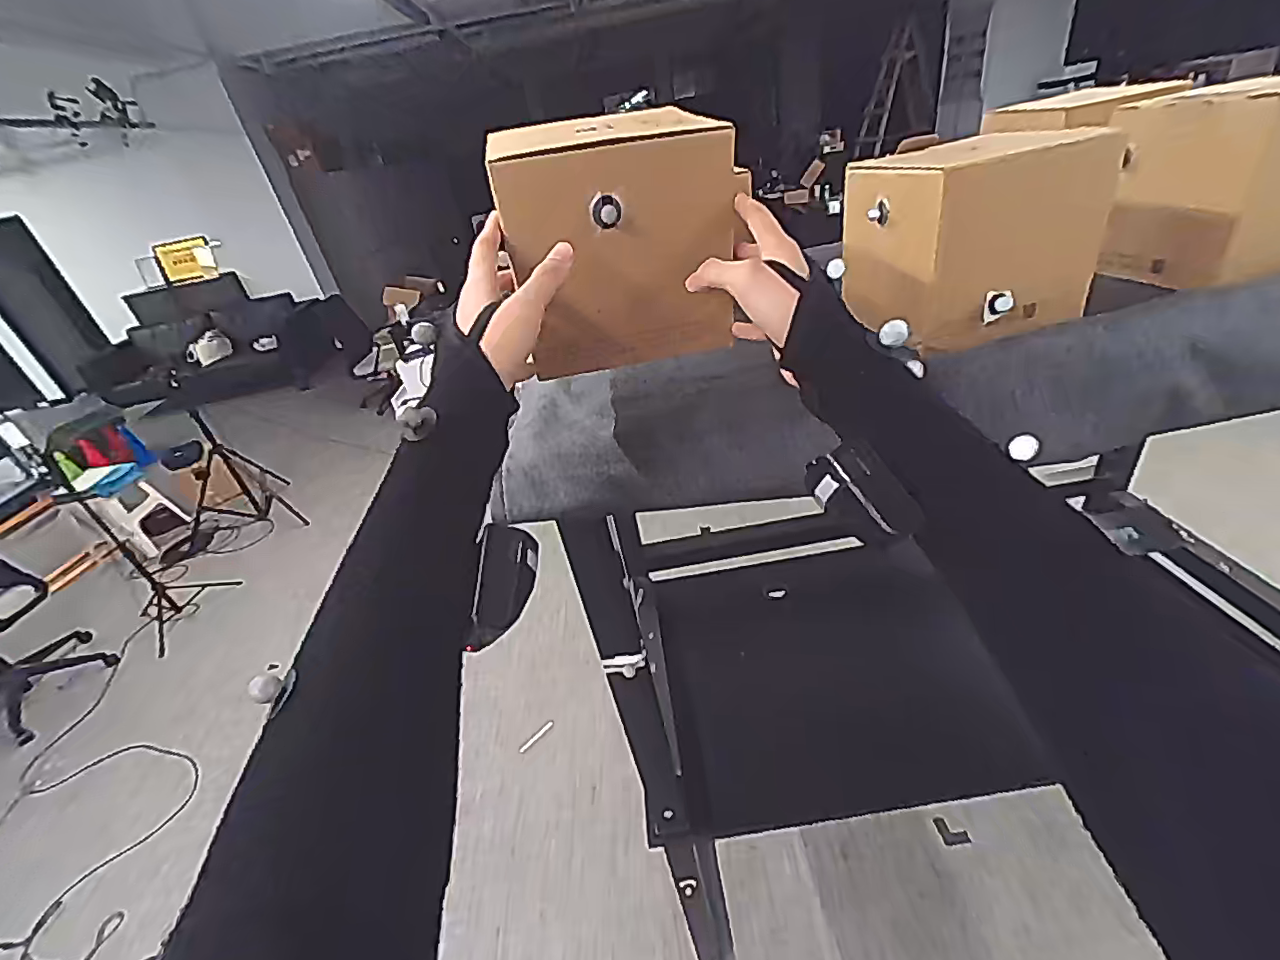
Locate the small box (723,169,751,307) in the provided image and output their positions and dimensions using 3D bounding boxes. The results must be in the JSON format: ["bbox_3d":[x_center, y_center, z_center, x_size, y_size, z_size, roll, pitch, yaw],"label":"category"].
[{"bbox_3d":[0.059,-0.350,0.802,0.179,0.176,0.168,-11,33,-1],"label":"small box"}]

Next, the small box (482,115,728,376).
[{"bbox_3d":[-0.028,-0.207,0.477,0.179,0.176,0.168,-11,39,-6],"label":"small box"}]

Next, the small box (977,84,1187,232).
[{"bbox_3d":[0.625,-0.462,0.802,0.168,0.176,0.179,-11,33,1],"label":"small box"}]

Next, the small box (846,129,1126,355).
[{"bbox_3d":[0.325,-0.243,0.556,0.168,0.176,0.179,-14,31,-2],"label":"small box"}]
